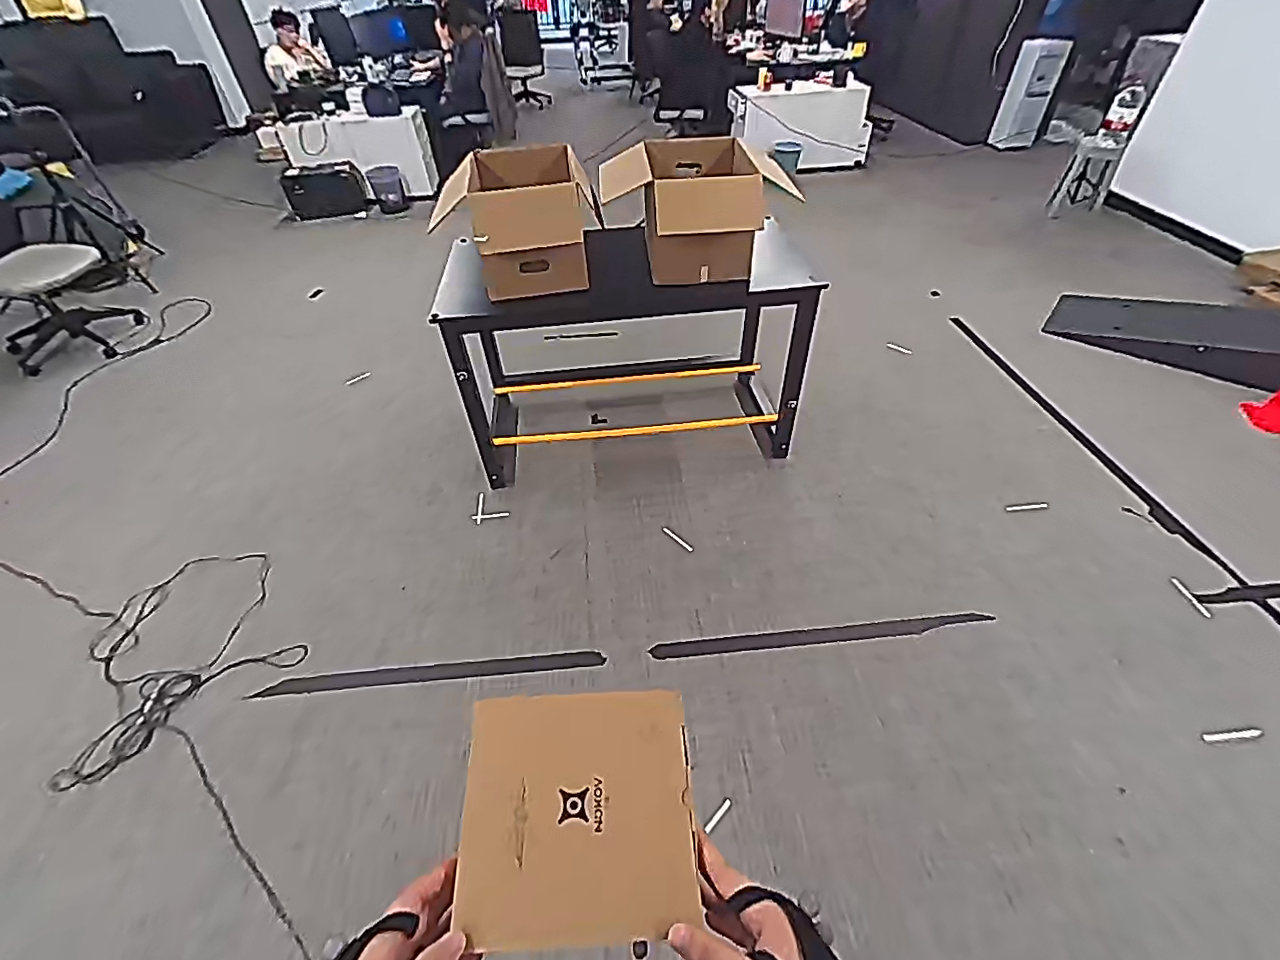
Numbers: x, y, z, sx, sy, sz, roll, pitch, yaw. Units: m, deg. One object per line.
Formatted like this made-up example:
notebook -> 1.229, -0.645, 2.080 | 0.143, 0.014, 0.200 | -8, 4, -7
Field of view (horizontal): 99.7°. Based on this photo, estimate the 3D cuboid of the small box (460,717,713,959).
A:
small box -> -0.042, 0.319, 0.476 | 0.179, 0.176, 0.168 | -3, 53, -3
